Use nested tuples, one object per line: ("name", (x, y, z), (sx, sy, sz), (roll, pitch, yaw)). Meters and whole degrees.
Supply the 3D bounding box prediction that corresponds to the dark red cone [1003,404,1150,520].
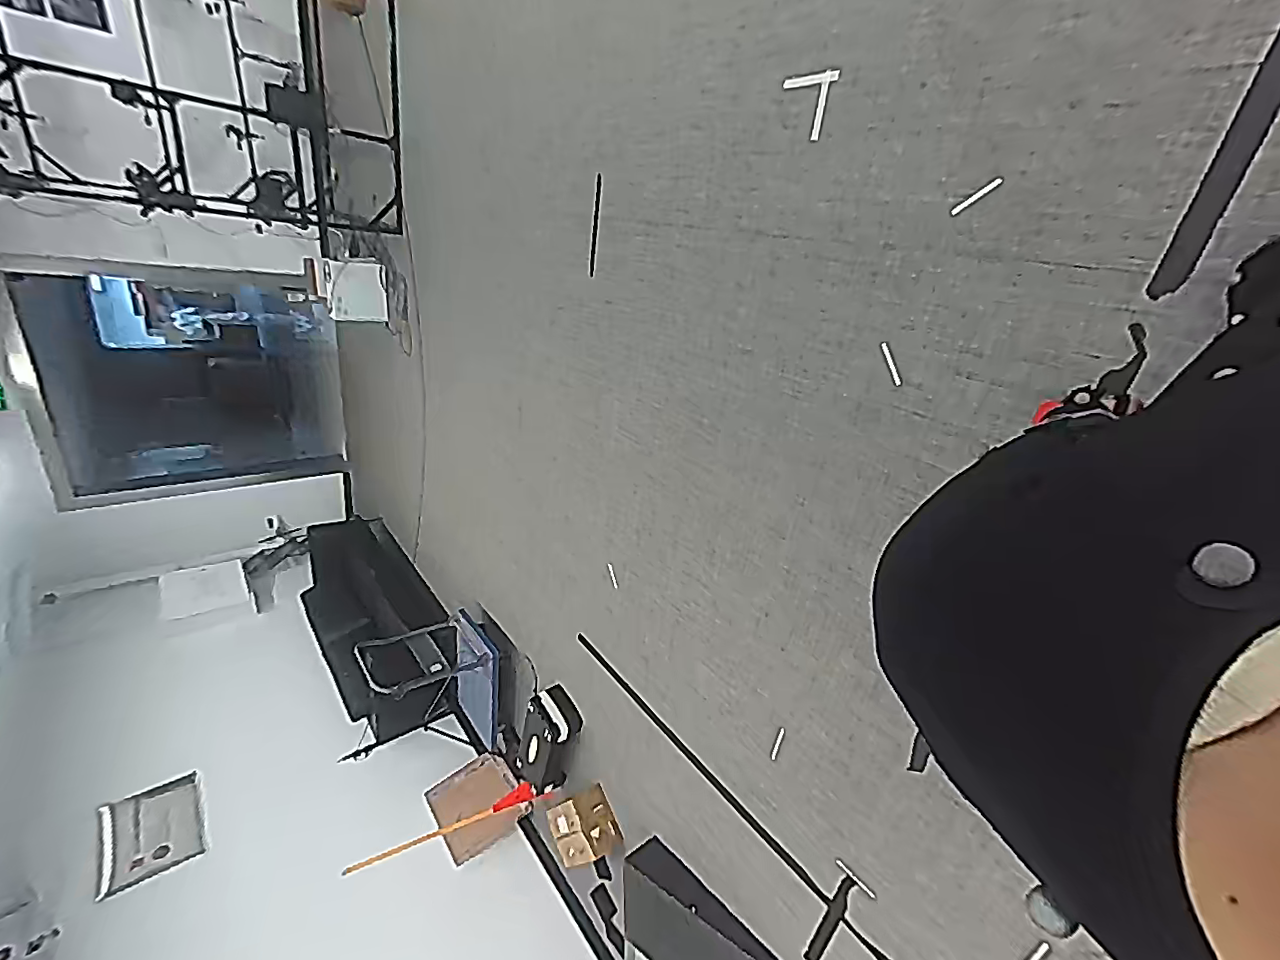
("dark red cone", (0.760, -0.017, 1.004), (0.201, 0.394, 0.202), (31, 122, 41))
